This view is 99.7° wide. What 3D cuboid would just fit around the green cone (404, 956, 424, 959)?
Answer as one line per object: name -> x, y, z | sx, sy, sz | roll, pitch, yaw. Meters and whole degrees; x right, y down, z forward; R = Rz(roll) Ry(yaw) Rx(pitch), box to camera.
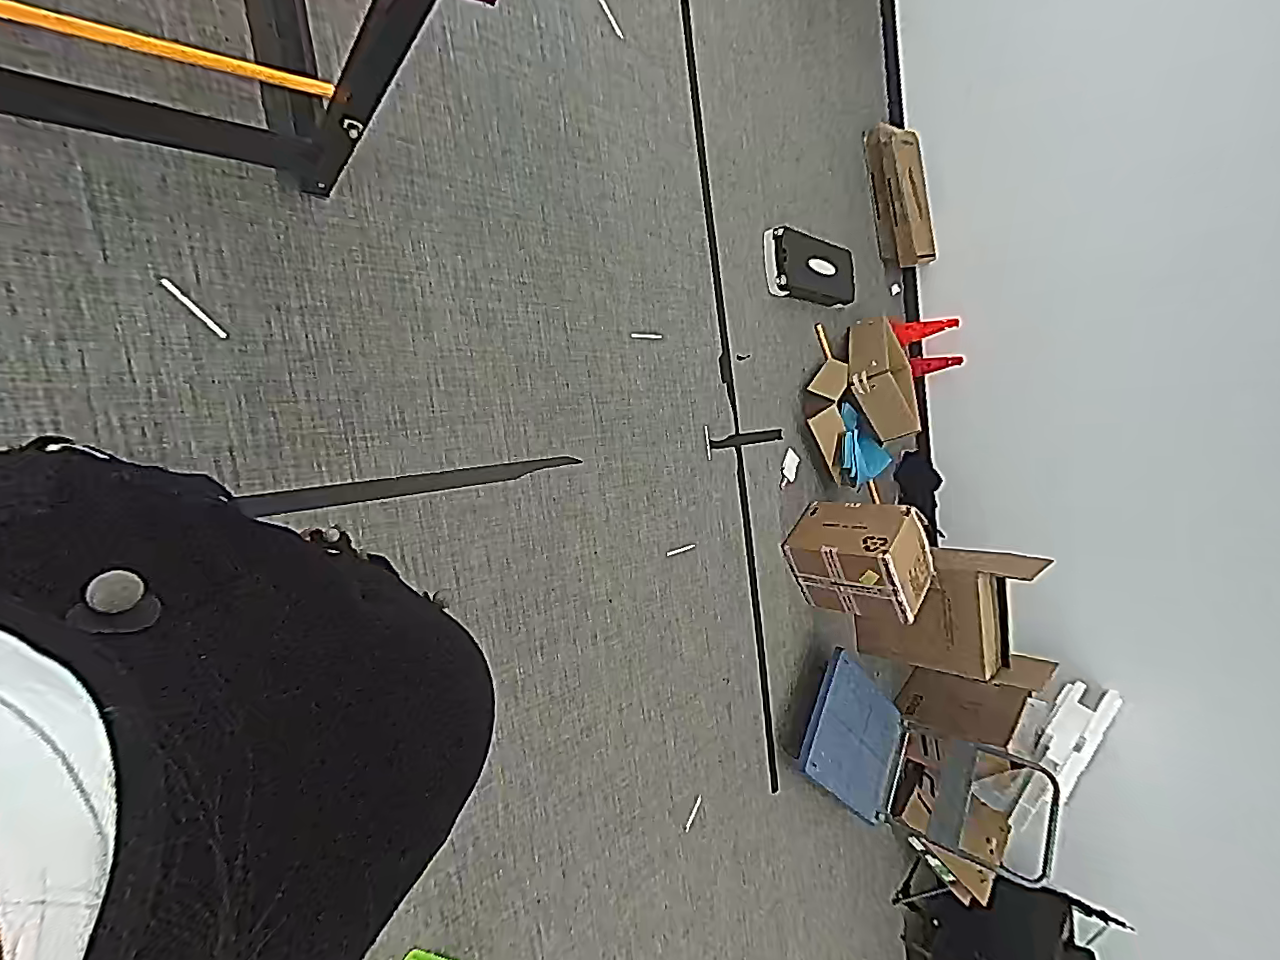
green cone -> -0.458, 1.313, 1.221 | 0.200, 0.368, 0.202 | 51, 56, -30
